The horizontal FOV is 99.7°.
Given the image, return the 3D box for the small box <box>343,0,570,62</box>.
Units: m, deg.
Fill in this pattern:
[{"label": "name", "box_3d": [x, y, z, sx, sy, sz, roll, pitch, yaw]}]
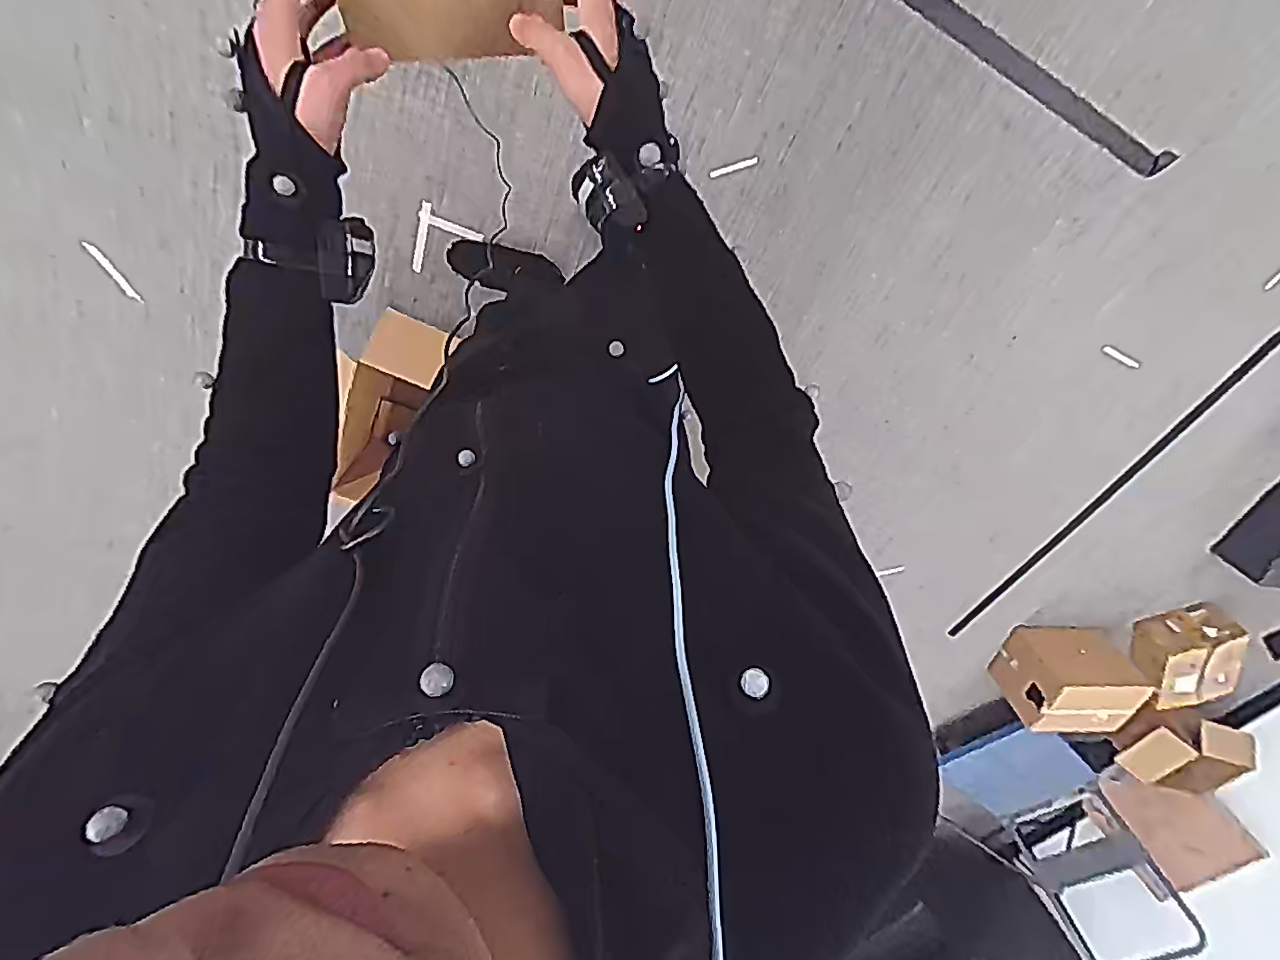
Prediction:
[{"label": "small box", "box_3d": [-0.151, -0.449, 0.402, 0.168, 0.176, 0.179, -12, 146, -11]}]
